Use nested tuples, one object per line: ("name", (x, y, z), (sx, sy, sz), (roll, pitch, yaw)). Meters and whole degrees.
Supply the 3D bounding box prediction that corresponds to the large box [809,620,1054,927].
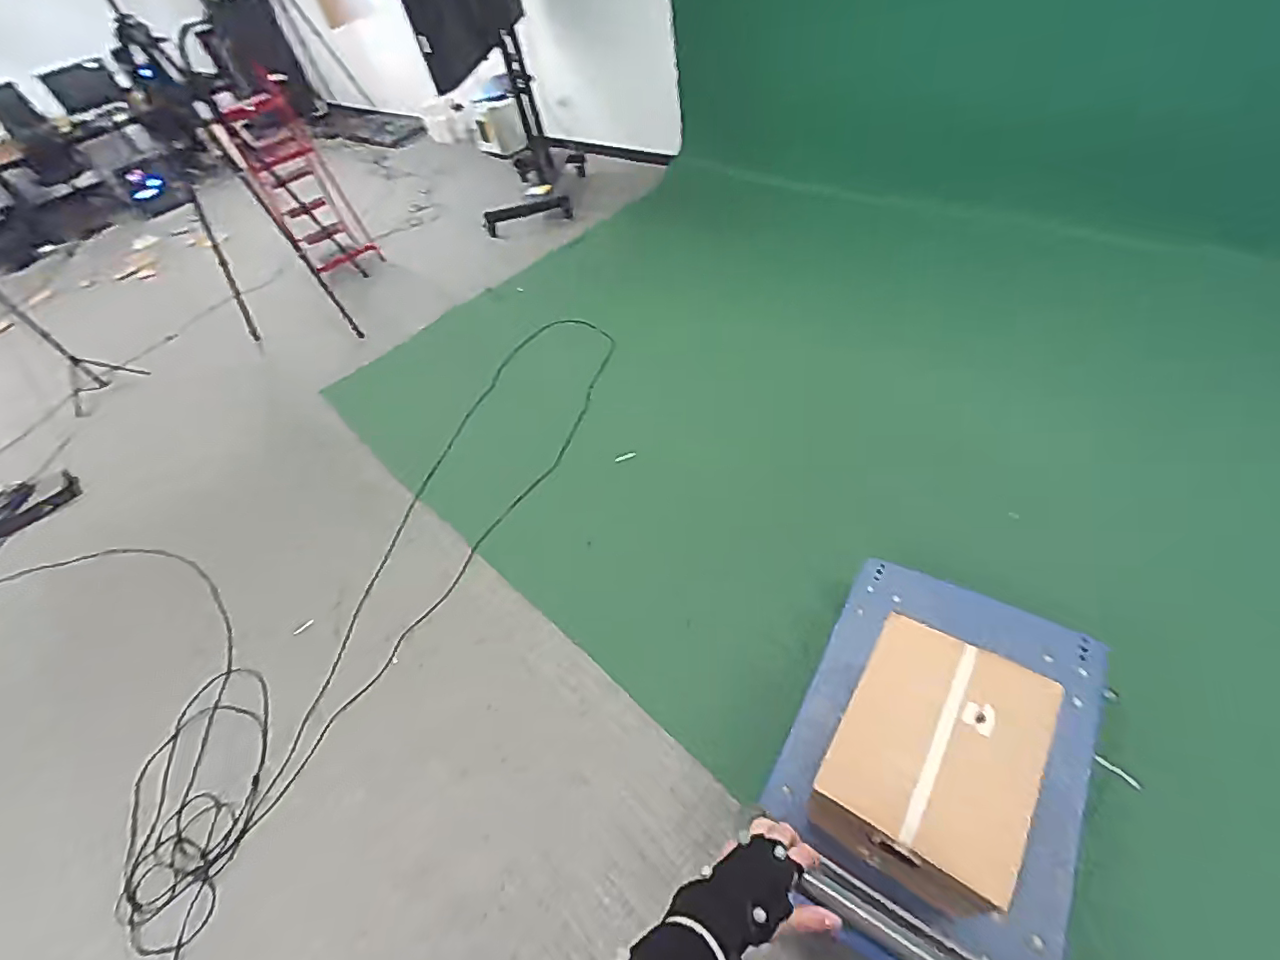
("large box", (0.568, 0.580, 1.095), (0.320, 0.320, 0.408), (23, 57, 30))
